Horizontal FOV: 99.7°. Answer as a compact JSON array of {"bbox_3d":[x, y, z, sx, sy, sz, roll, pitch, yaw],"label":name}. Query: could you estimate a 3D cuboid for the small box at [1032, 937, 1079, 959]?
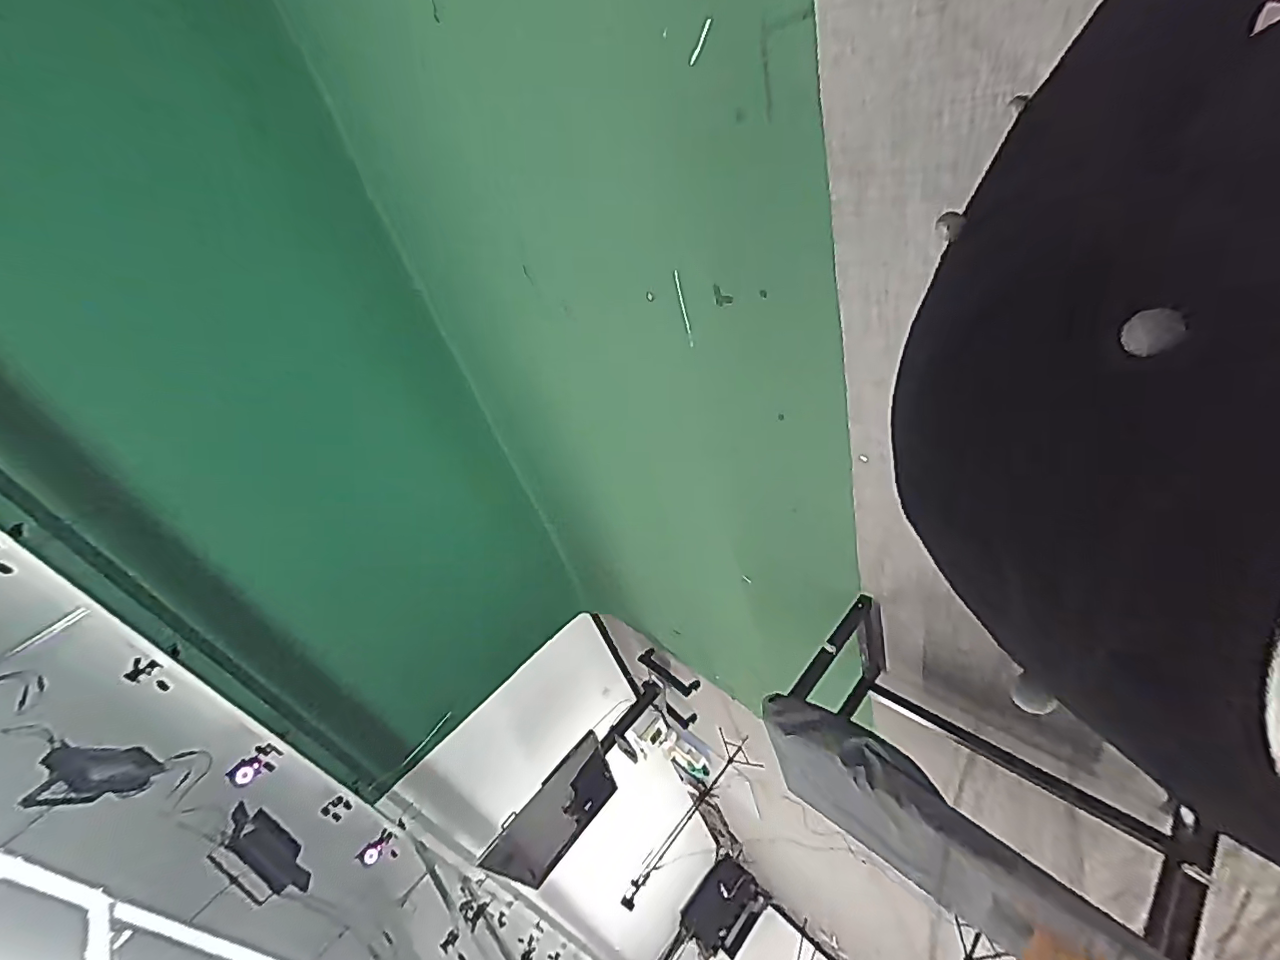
[{"bbox_3d":[1.170,1.422,1.491,0.168,0.176,0.179,19,140,47],"label":"small box"}]
